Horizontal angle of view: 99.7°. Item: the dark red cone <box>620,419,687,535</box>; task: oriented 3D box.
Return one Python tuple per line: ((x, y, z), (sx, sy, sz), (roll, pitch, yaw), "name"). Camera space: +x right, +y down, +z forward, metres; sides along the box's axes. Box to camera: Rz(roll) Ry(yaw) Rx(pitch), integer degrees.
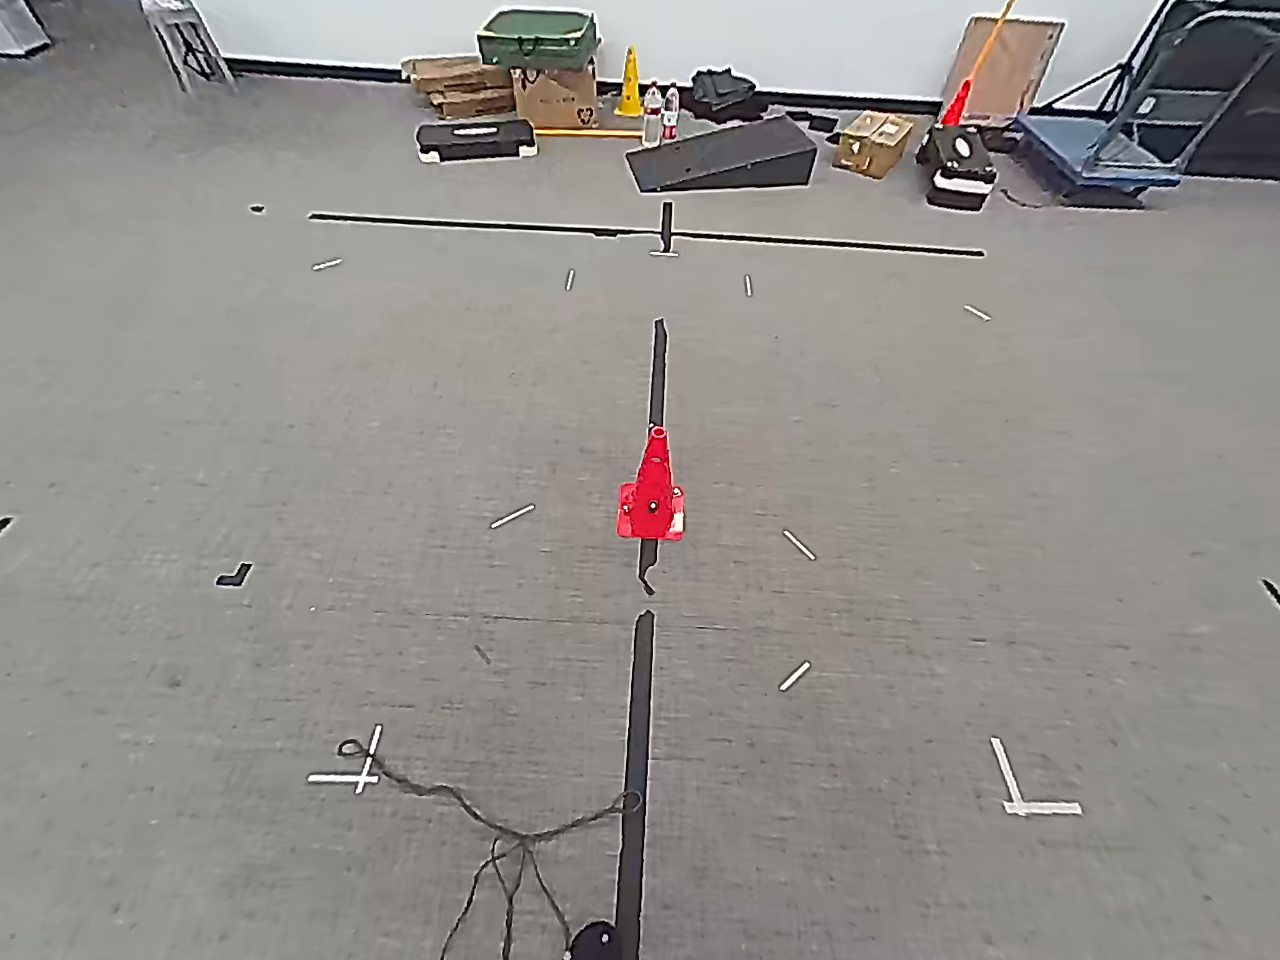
((0.045, -0.024, 1.498), (0.201, 0.394, 0.202), (3, 52, 0), "dark red cone")
